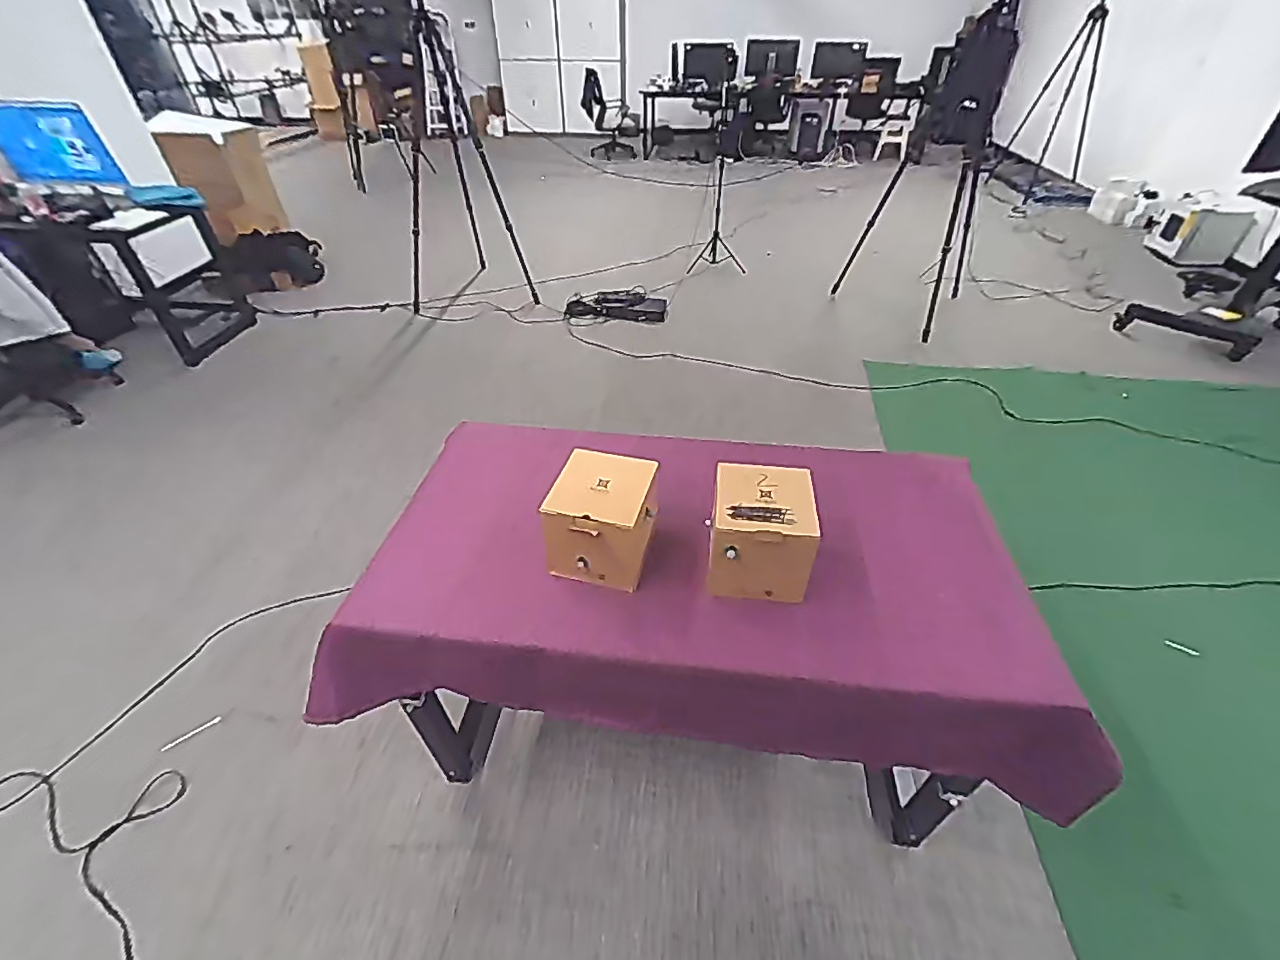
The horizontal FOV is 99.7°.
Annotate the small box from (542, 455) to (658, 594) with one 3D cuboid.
[{"bbox_3d":[-0.069,0.081,1.009,0.168,0.176,0.179,10,43,12],"label":"small box"}]
